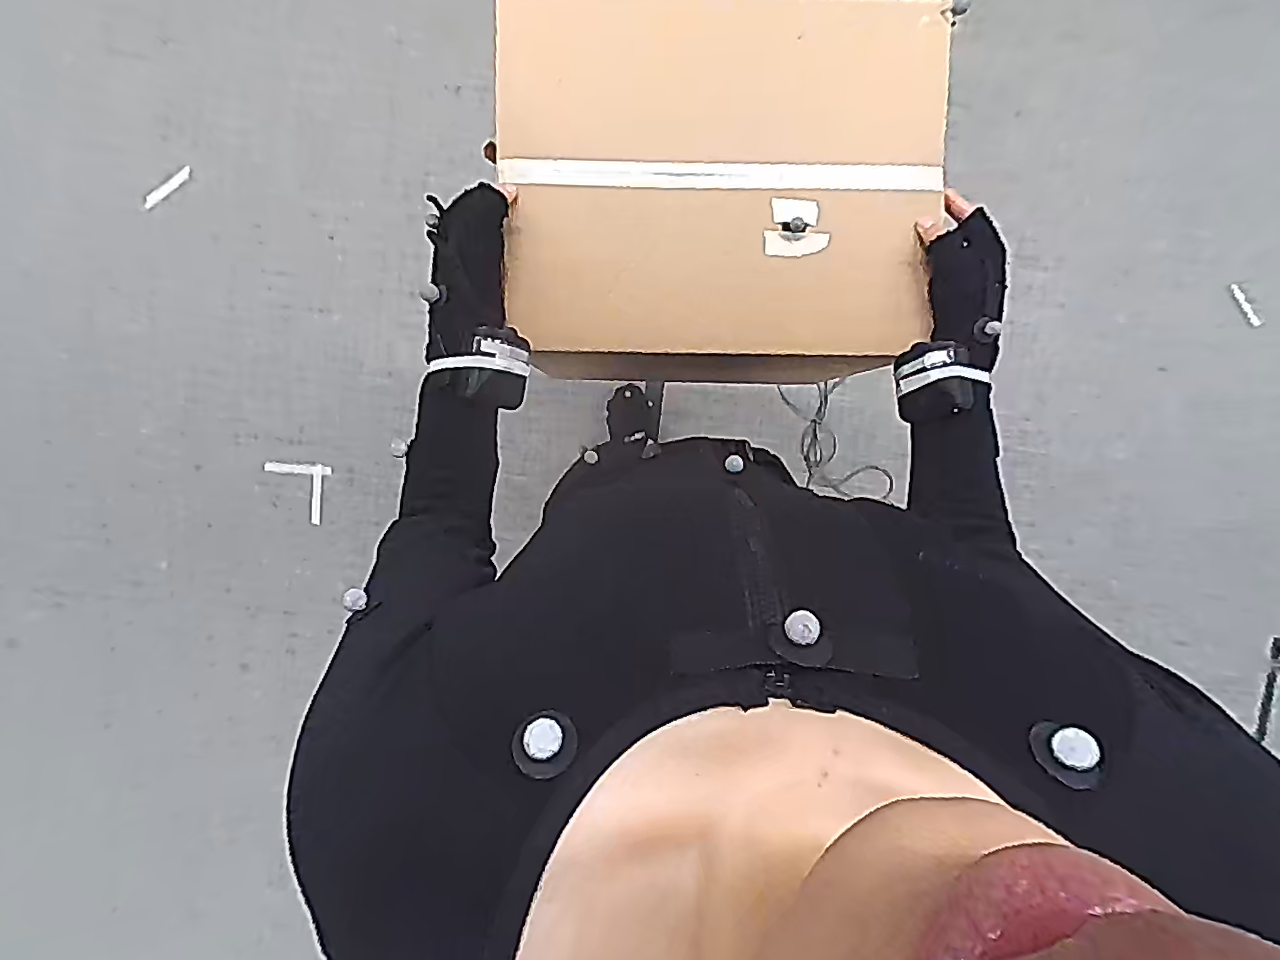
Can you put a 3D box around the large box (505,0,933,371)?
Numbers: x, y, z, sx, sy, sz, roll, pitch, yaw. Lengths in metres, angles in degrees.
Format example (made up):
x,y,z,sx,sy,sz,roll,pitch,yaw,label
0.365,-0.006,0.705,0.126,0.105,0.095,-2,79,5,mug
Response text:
x,y,z,sx,sy,sz,roll,pitch,yaw,label
0.069,-0.305,0.657,0.408,0.320,0.320,1,96,-2,large box
